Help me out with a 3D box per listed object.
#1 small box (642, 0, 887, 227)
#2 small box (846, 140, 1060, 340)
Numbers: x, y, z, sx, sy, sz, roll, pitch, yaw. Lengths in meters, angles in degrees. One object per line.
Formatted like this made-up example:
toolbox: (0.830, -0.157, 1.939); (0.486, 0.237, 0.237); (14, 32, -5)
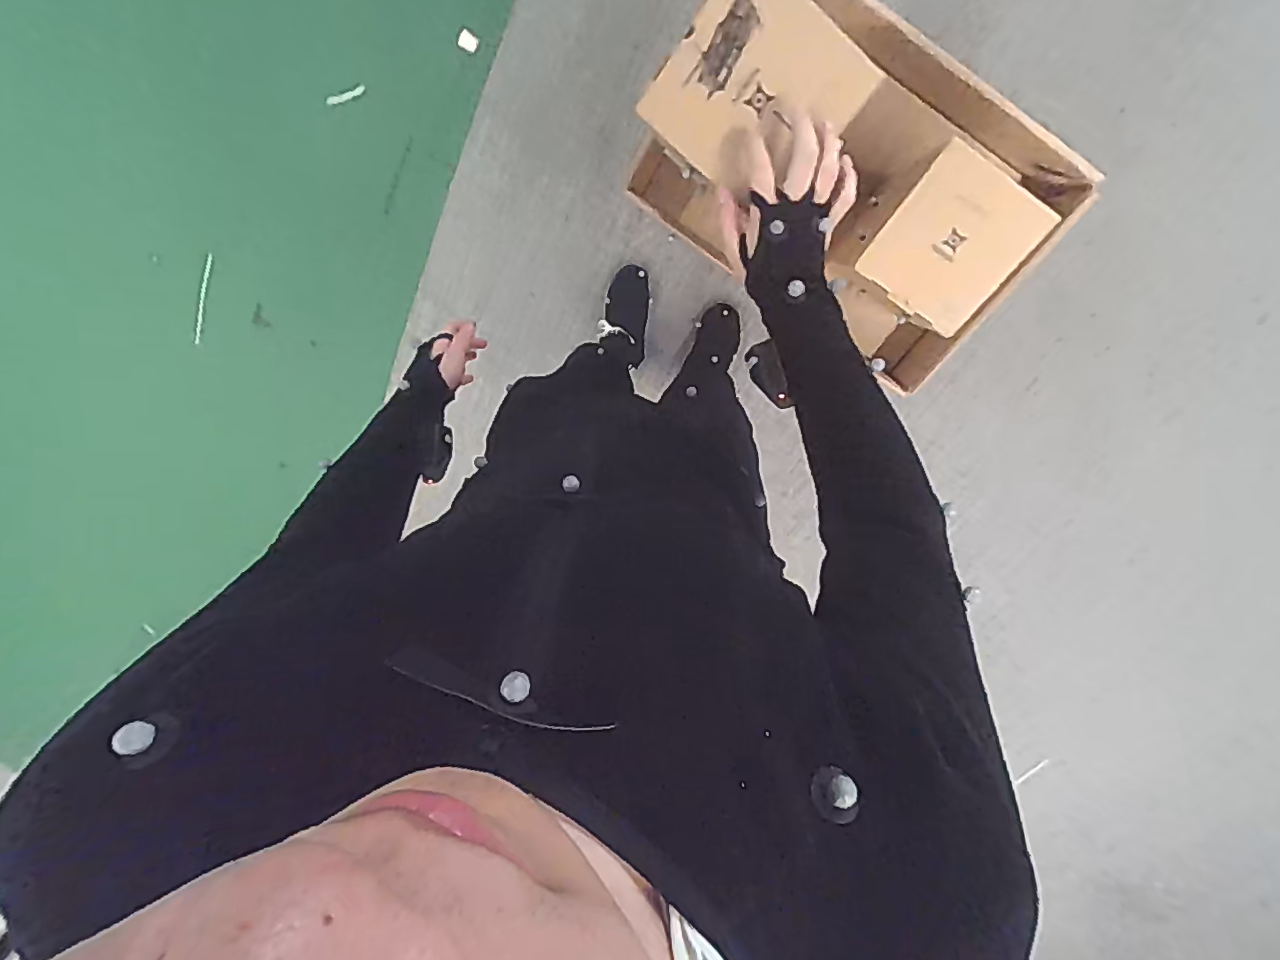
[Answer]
small box: (0.129, -0.400, 0.593); (0.179, 0.176, 0.168); (40, 114, -7)
small box: (0.409, -0.323, 0.748); (0.168, 0.176, 0.179); (35, 115, -5)
